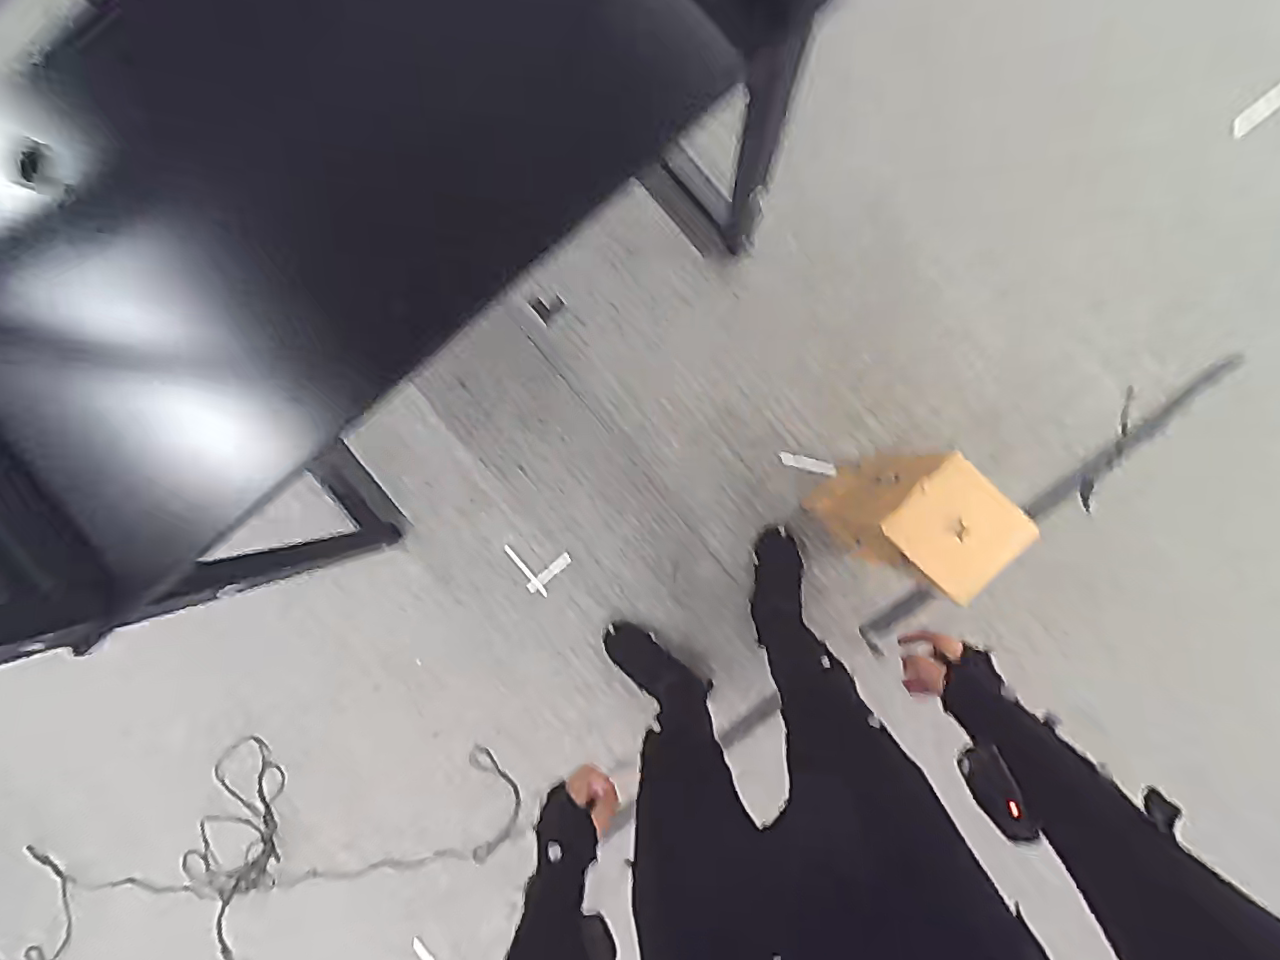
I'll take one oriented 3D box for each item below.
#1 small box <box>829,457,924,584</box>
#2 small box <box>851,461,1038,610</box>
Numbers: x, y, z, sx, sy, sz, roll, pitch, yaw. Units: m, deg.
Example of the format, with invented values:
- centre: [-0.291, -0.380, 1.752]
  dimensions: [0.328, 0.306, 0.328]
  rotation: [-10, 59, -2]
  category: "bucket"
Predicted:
- centre: [0.504, 0.071, 1.063]
  dimensions: [0.179, 0.176, 0.168]
  rotation: [-45, 88, 5]
  category: "small box"
- centre: [0.491, 0.081, 0.901]
  dimensions: [0.179, 0.176, 0.168]
  rotation: [45, 94, 2]
  category: "small box"
